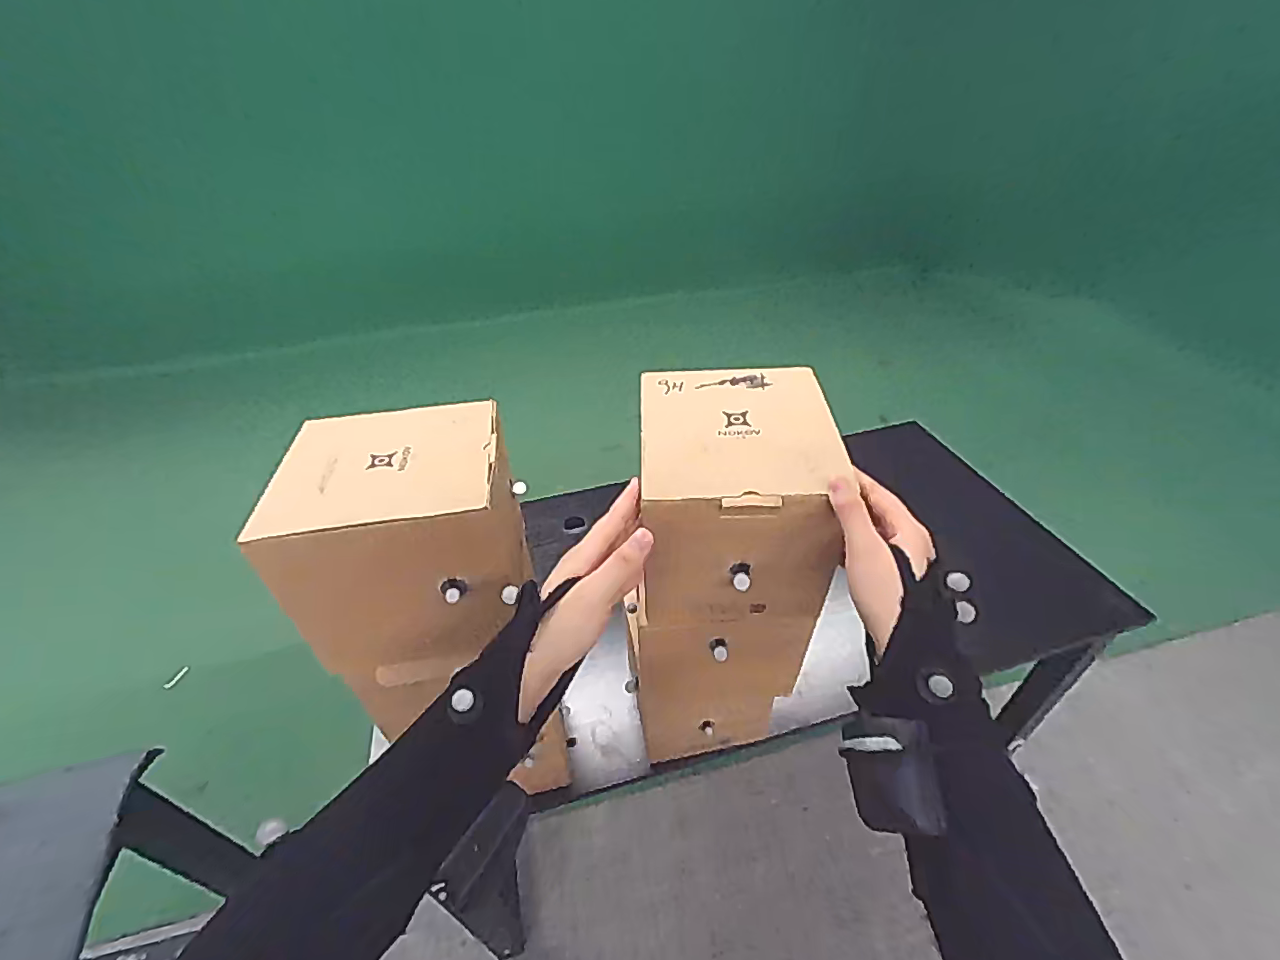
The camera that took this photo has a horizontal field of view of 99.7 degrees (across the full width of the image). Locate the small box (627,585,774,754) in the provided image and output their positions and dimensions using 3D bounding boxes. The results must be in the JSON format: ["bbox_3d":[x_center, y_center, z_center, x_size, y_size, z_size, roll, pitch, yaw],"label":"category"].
[{"bbox_3d":[0.080,0.252,0.744,0.168,0.176,0.179,-9,40,-7],"label":"small box"}]

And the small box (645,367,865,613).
[{"bbox_3d":[0.091,0.014,0.515,0.168,0.176,0.179,-2,45,2],"label":"small box"}]

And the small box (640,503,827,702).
[{"bbox_3d":[0.090,0.138,0.622,0.179,0.176,0.168,-3,43,-1],"label":"small box"}]

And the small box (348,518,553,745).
[{"bbox_3d":[-0.193,0.171,0.604,0.168,0.176,0.179,-8,38,-7],"label":"small box"}]
